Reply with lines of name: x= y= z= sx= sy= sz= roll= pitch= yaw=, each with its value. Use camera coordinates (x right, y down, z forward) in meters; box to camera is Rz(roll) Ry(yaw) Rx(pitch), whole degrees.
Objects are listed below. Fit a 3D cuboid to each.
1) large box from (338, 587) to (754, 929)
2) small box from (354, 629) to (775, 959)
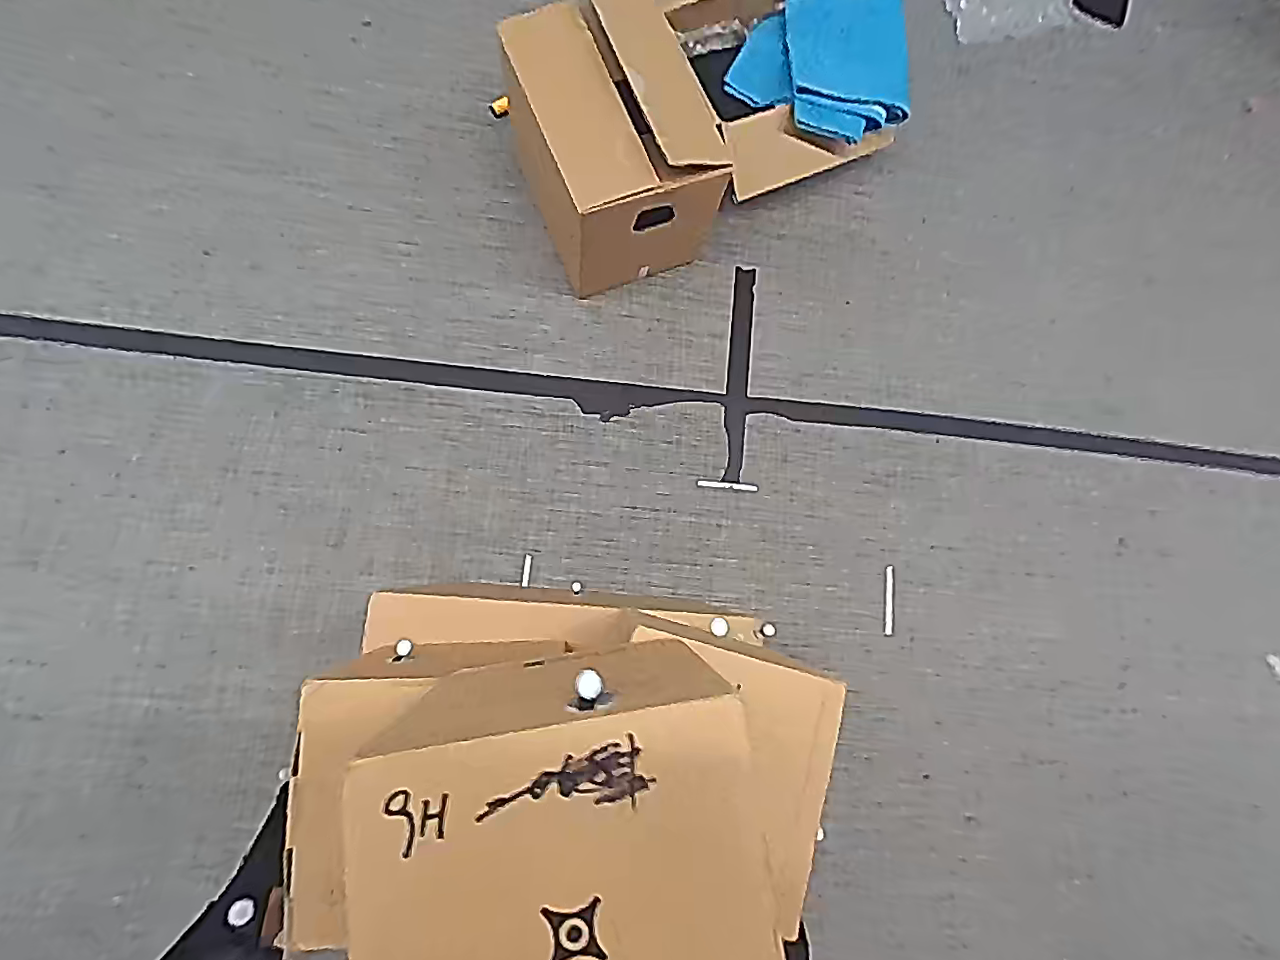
large box: x=-0.097 y=0.299 z=0.689 sx=0.408 sy=0.320 sz=0.320 roll=4 pitch=81 yaw=-6
small box: x=-0.034 y=0.191 z=0.299 sx=0.168 sy=0.176 sz=0.179 roll=-7 pitch=82 yaw=-7
